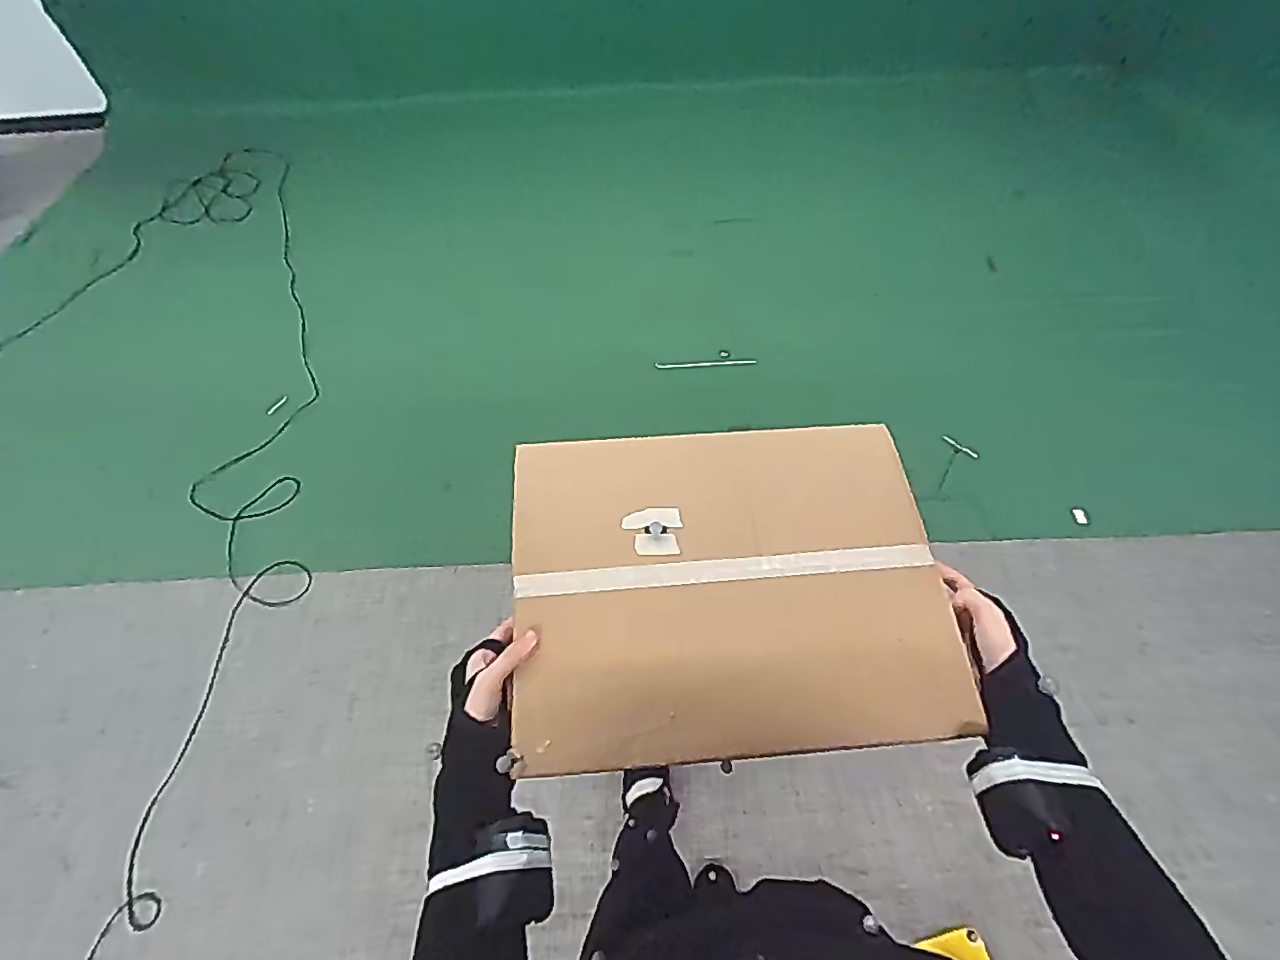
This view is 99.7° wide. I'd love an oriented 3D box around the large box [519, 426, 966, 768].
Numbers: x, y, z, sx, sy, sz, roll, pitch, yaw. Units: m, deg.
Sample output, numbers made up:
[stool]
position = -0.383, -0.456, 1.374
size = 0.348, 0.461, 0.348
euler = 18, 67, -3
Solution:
[large box]
position = 0.082, 0.157, 0.668
size = 0.408, 0.320, 0.320
euler = -4, 63, -2
